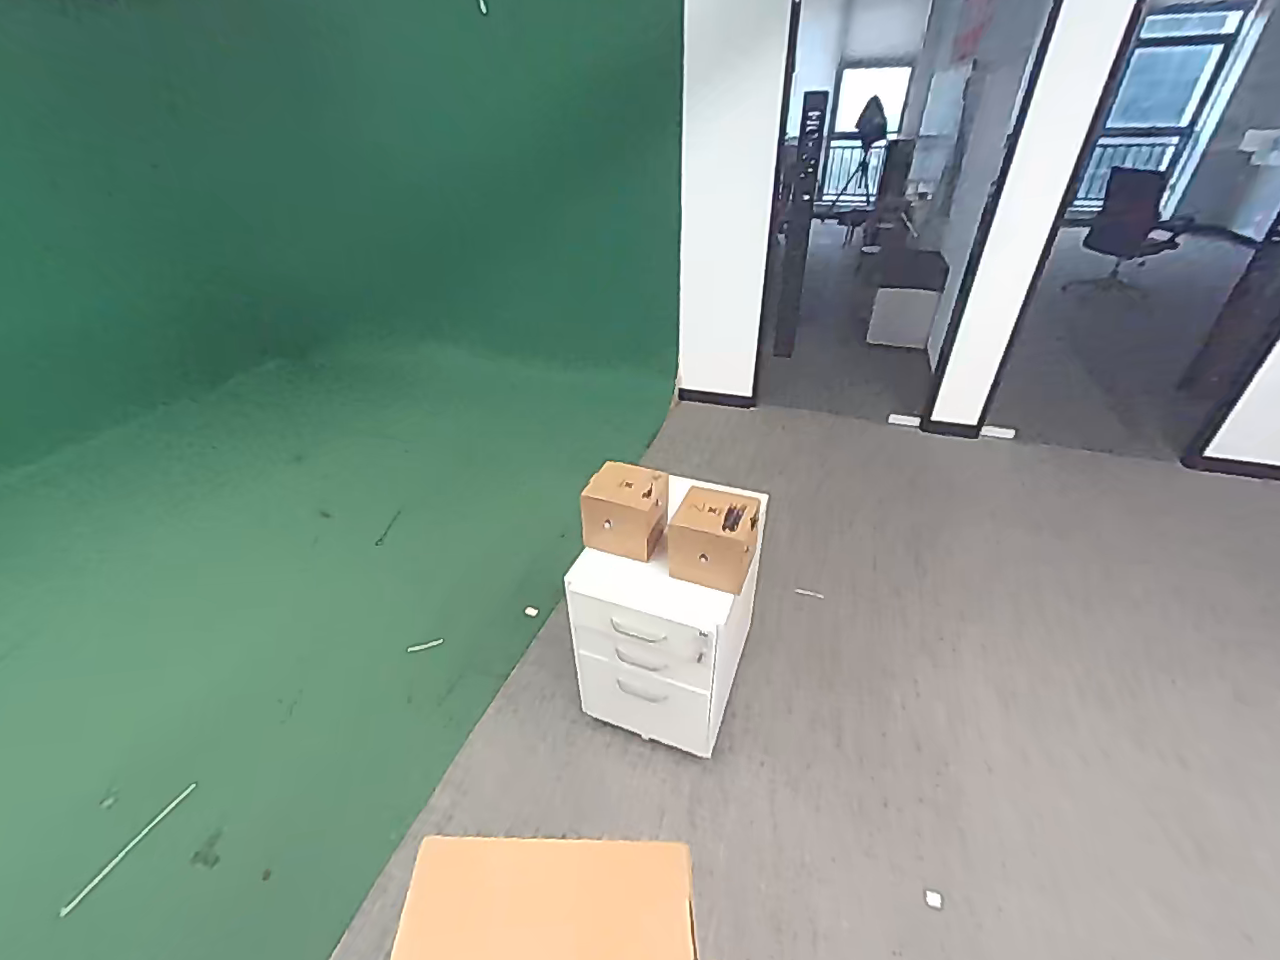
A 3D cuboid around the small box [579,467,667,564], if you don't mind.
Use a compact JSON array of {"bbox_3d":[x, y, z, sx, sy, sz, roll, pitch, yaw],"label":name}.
[{"bbox_3d":[-0.039,0.090,1.379,0.179,0.176,0.168,12,36,17],"label":"small box"}]
